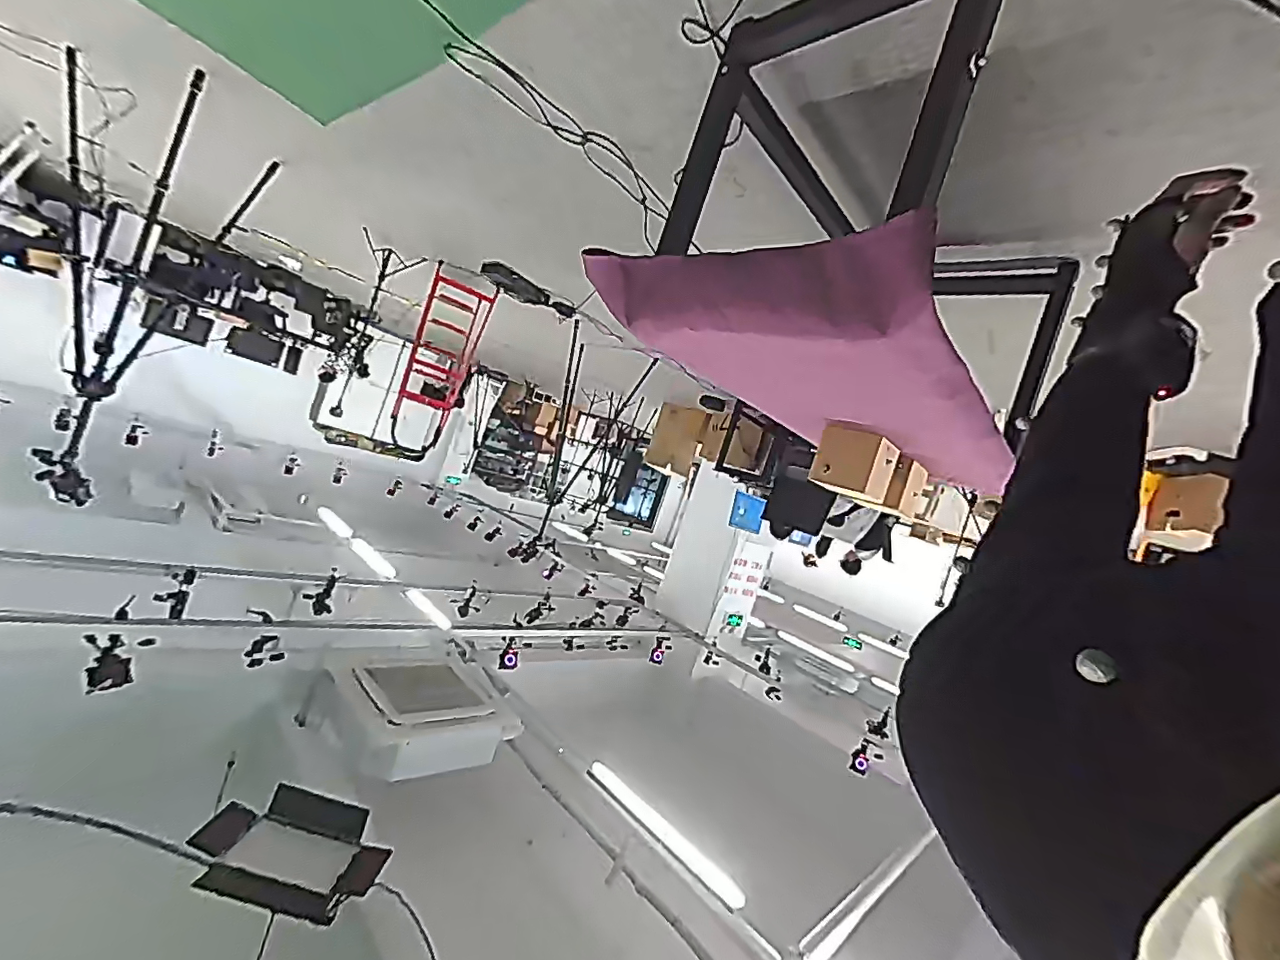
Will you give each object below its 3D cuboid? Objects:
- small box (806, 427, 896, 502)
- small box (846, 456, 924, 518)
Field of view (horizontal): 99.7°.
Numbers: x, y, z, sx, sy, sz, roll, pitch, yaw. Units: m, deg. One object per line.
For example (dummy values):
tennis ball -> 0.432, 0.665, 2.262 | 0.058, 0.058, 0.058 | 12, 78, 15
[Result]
small box -> 0.623, -0.049, 1.592 | 0.179, 0.176, 0.168 | 18, 180, 42
small box -> 0.802, 0.011, 1.765 | 0.168, 0.176, 0.179 | 19, -179, 42
